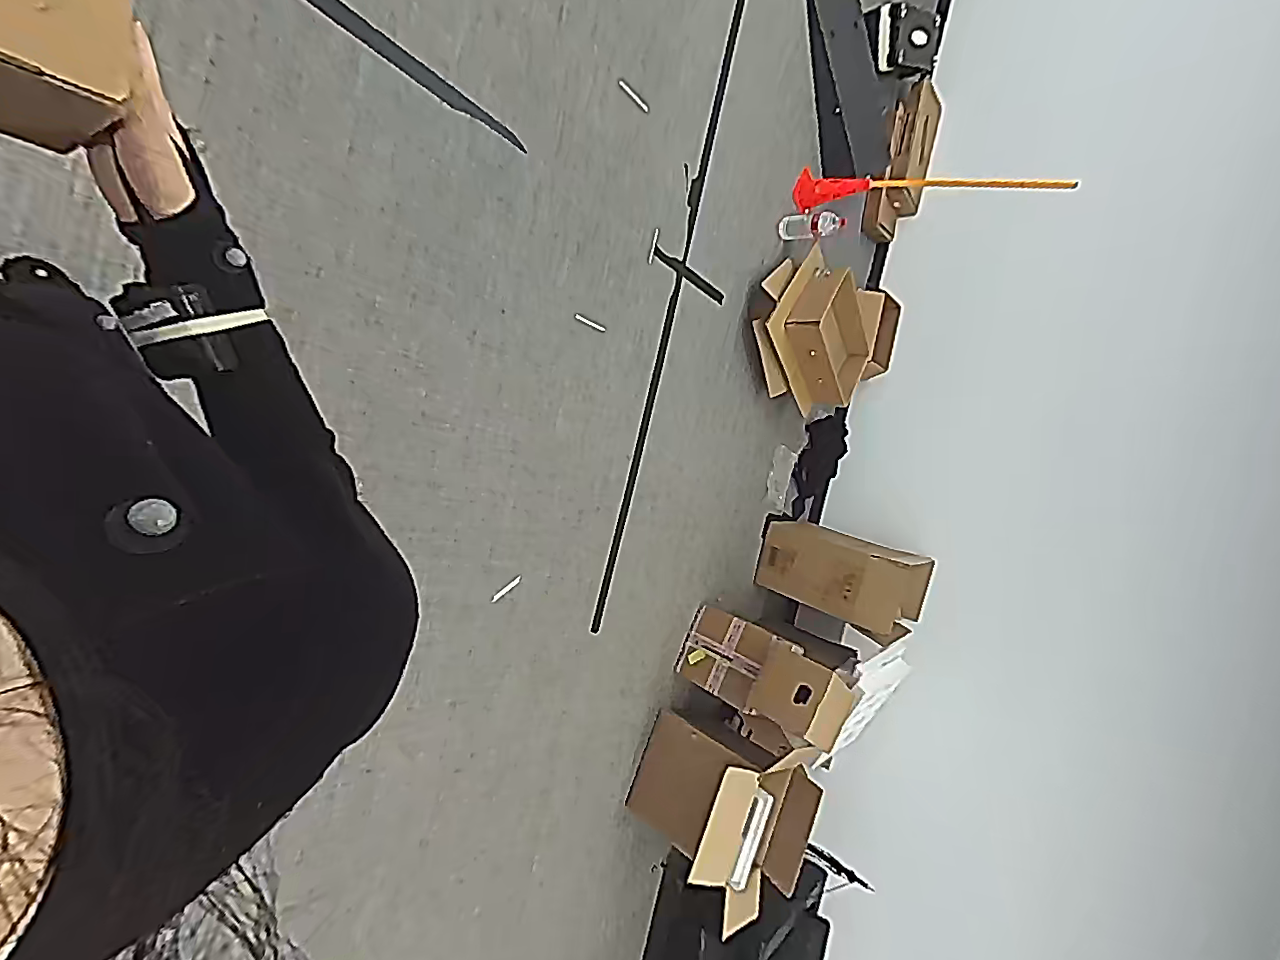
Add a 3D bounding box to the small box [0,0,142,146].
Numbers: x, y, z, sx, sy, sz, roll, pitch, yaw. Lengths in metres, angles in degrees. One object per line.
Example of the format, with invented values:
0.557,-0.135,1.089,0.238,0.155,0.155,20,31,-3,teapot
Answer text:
-0.366,-0.293,0.261,0.168,0.176,0.179,-1,104,-54,small box
